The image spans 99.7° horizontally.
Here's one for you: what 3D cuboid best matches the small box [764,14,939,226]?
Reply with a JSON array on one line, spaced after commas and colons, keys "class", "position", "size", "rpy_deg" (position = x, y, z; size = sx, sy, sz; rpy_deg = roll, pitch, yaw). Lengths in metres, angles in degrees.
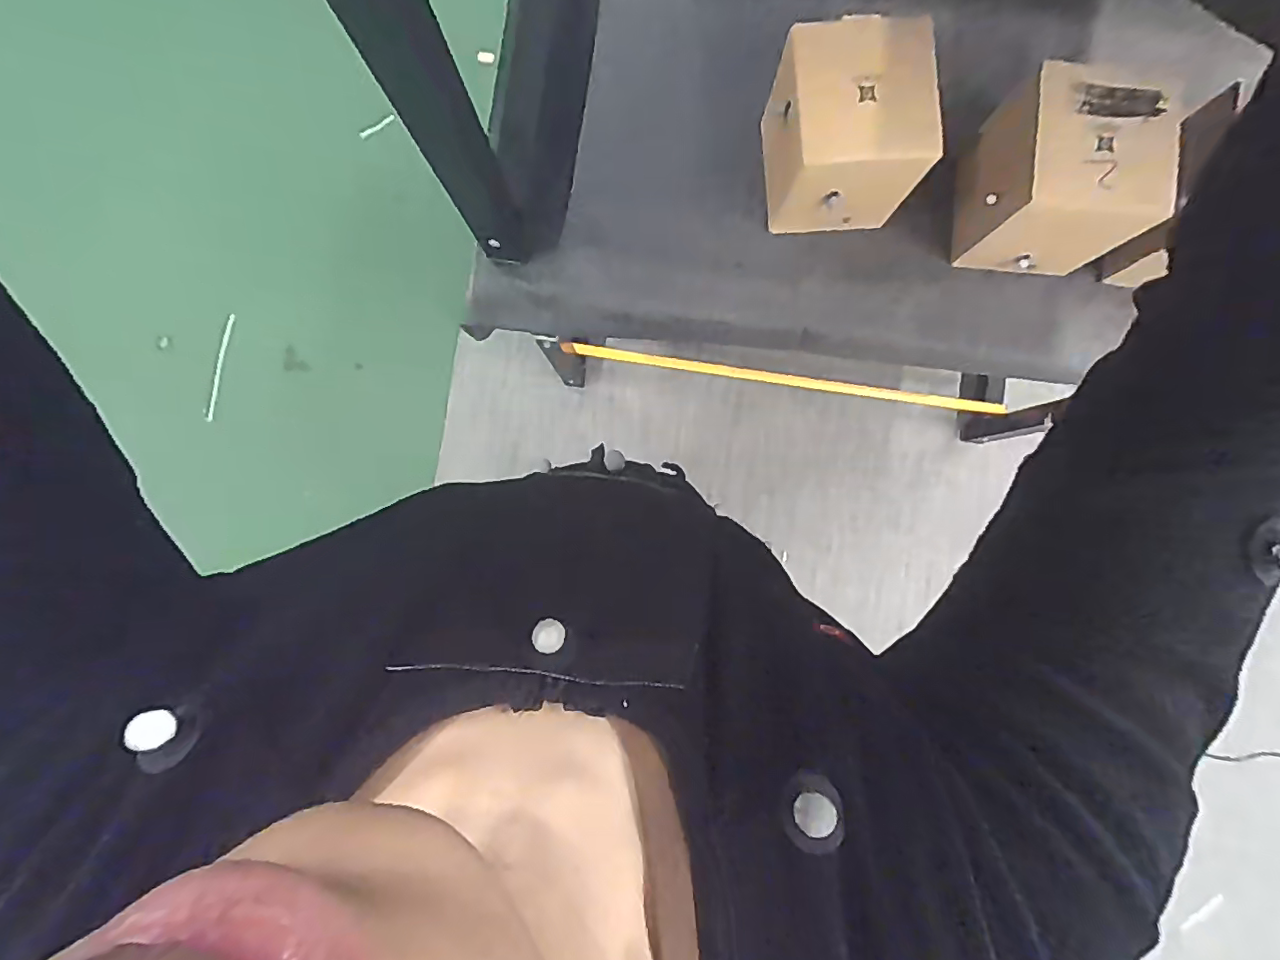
[{"class": "small box", "position": [0.265, -0.454, 0.712], "size": [0.168, 0.176, 0.179], "rpy_deg": [-3, 87, 0]}]
